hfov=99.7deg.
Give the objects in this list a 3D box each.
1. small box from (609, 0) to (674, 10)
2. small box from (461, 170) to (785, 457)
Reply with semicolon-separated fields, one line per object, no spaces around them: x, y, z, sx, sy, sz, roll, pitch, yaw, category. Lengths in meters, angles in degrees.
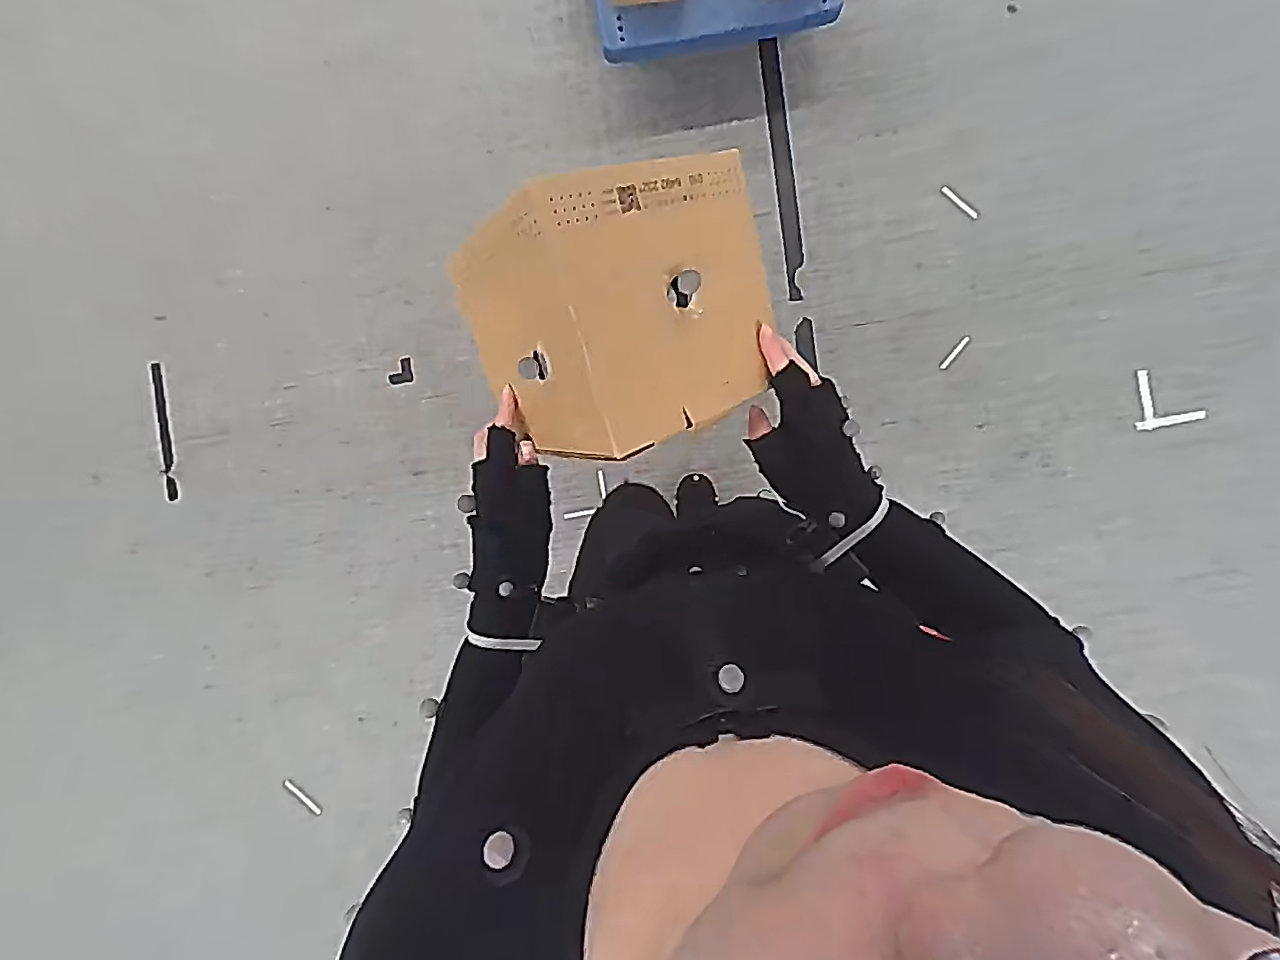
0.007;-1.197;1.196;0.179;0.176;0.168;-4;91;4;small box
-0.019;-0.128;0.427;0.168;0.179;0.176;-26;108;-30;small box
